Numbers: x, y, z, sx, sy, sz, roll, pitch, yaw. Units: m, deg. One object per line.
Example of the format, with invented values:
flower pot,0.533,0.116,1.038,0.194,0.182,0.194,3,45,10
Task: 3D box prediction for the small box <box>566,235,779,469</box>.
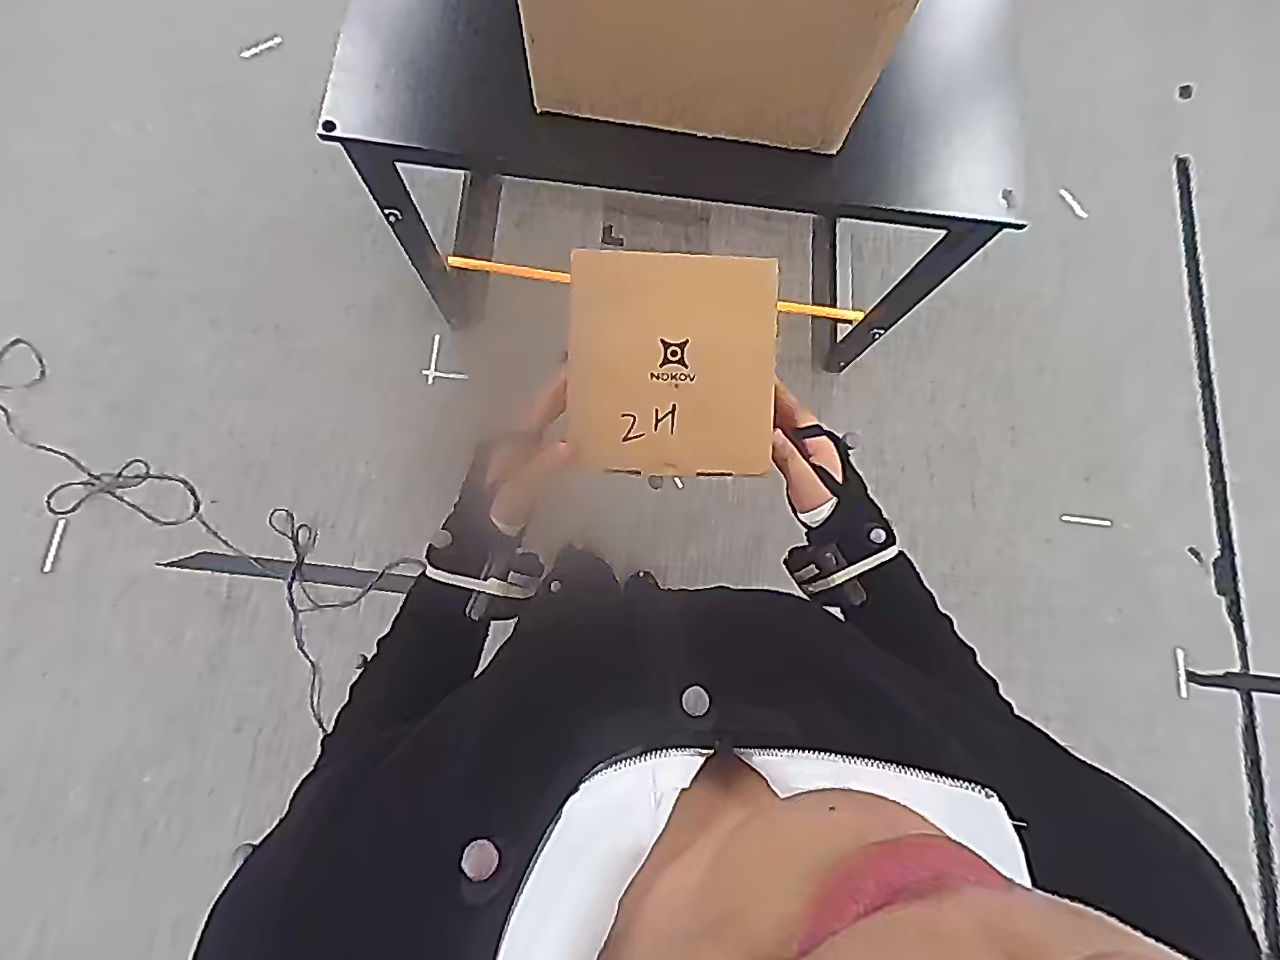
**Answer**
small box,0.022,-0.101,0.502,0.168,0.176,0.179,1,91,-2
